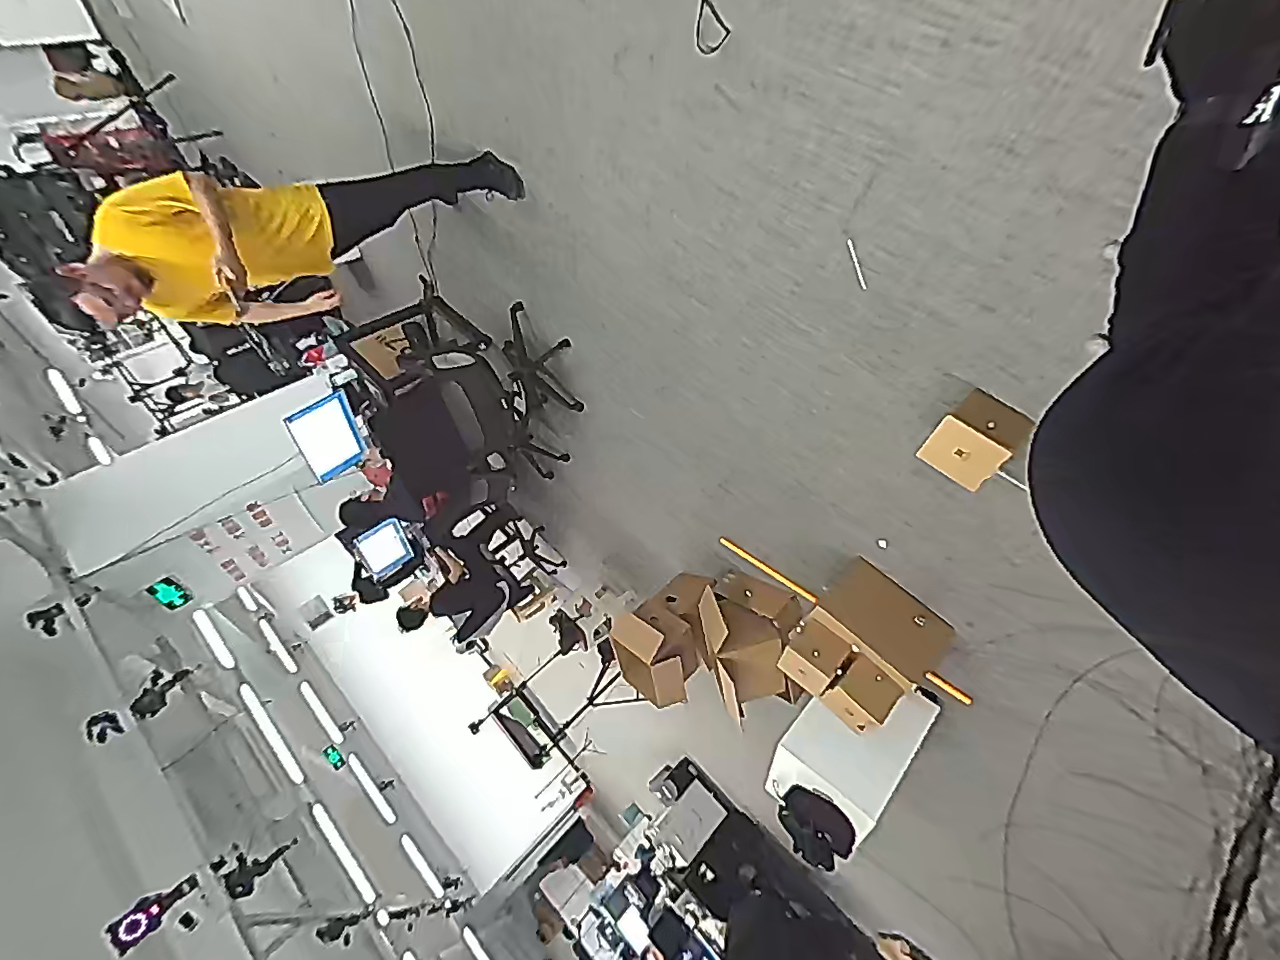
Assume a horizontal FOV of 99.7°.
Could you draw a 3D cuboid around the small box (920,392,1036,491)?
[{"bbox_3d":[0.898,-0.110,1.440,0.179,0.176,0.168,39,147,21],"label":"small box"}]
